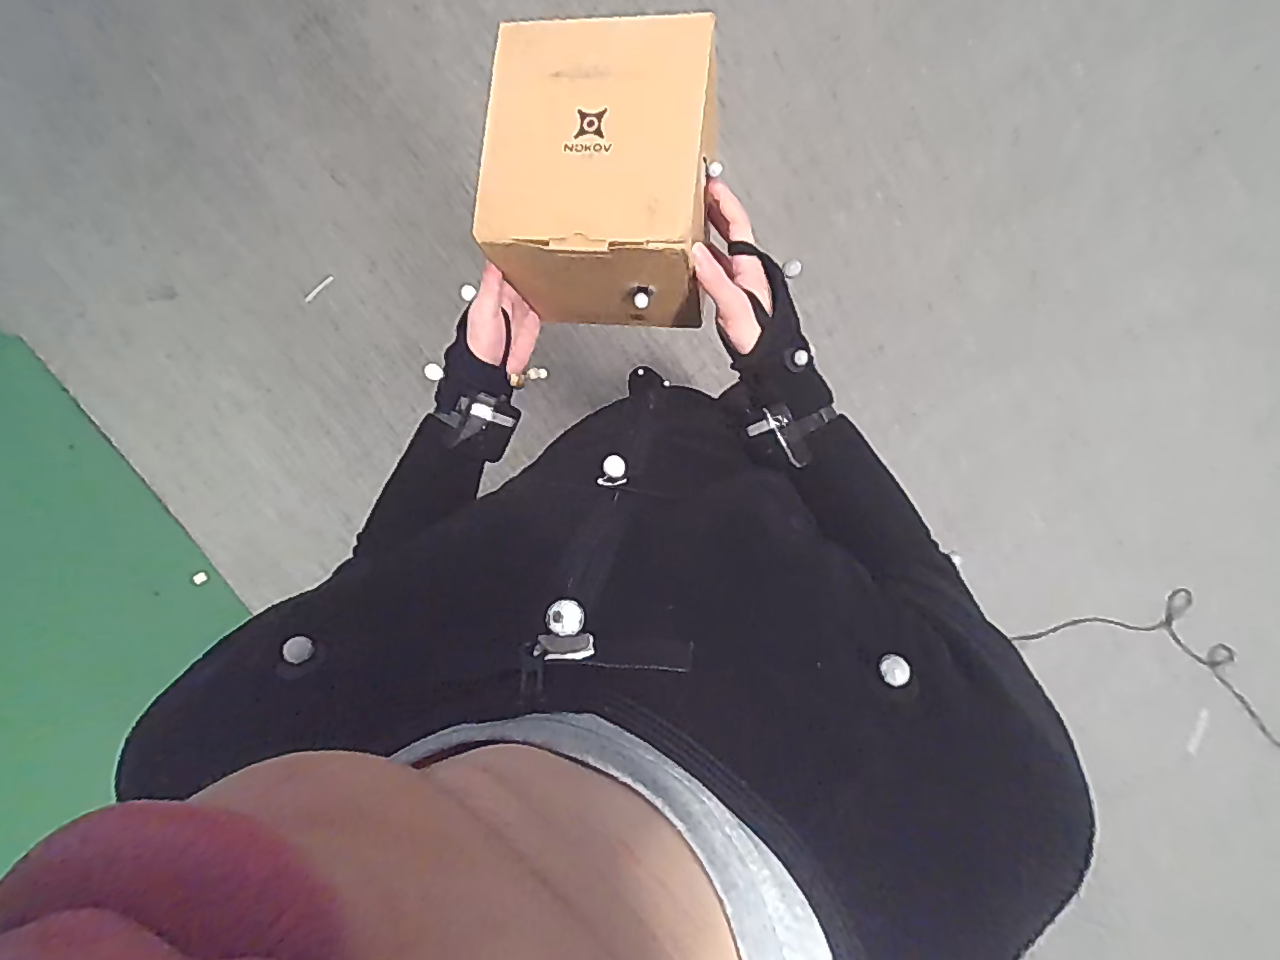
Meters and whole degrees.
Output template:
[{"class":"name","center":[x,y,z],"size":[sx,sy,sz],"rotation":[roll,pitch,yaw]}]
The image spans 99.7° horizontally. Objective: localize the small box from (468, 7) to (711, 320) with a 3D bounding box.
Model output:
[{"class":"small box","center":[-0.028,-0.253,0.472],"size":[0.168,0.176,0.179],"rotation":[5,86,8]}]
